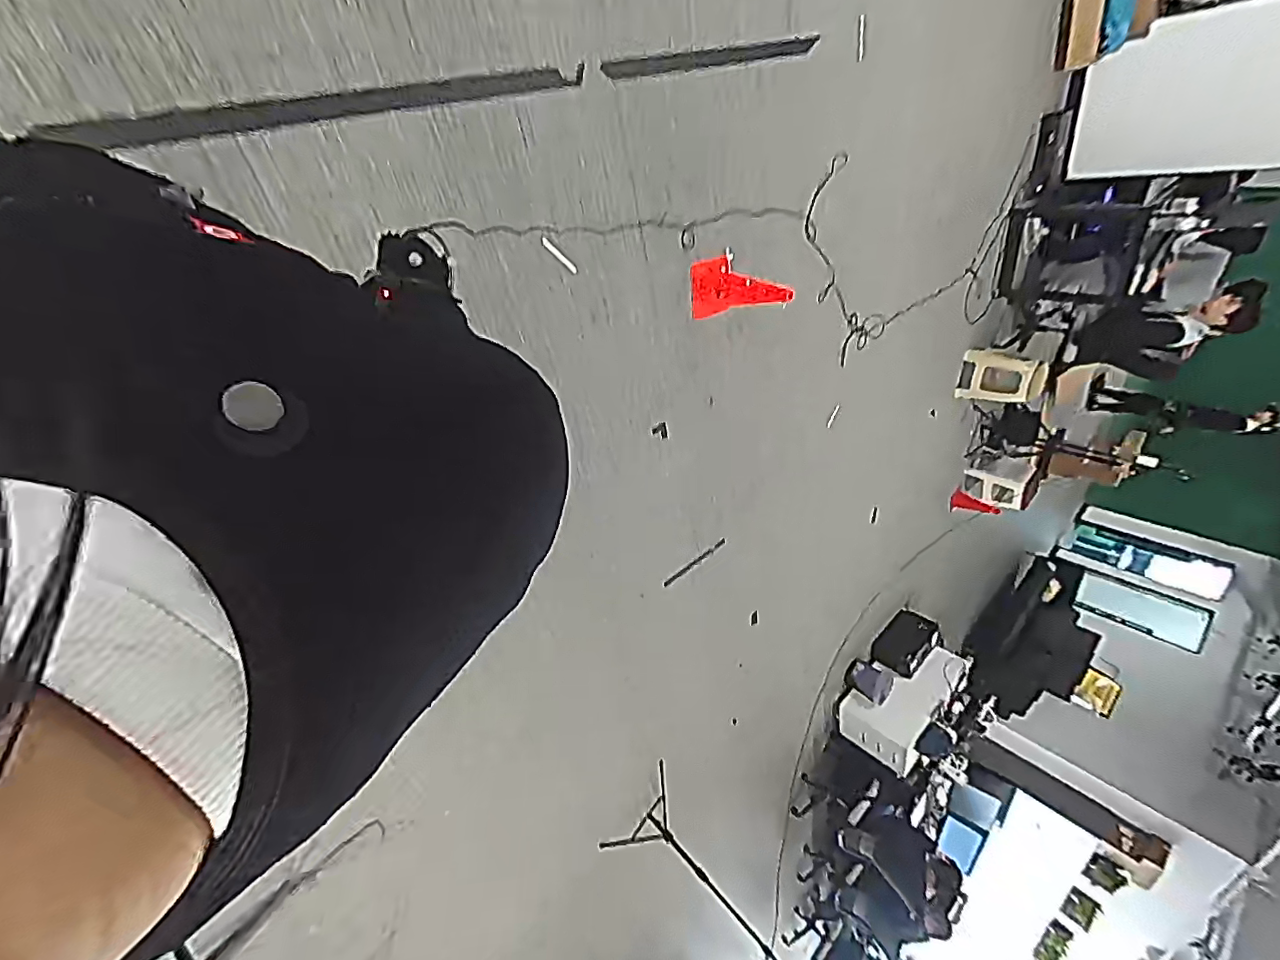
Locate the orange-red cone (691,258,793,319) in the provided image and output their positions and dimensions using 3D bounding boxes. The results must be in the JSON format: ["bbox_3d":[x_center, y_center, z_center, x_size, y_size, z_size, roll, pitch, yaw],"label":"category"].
[{"bbox_3d":[0.371,-0.655,1.878,0.199,0.360,0.198,-25,123,-32],"label":"orange-red cone"}]
